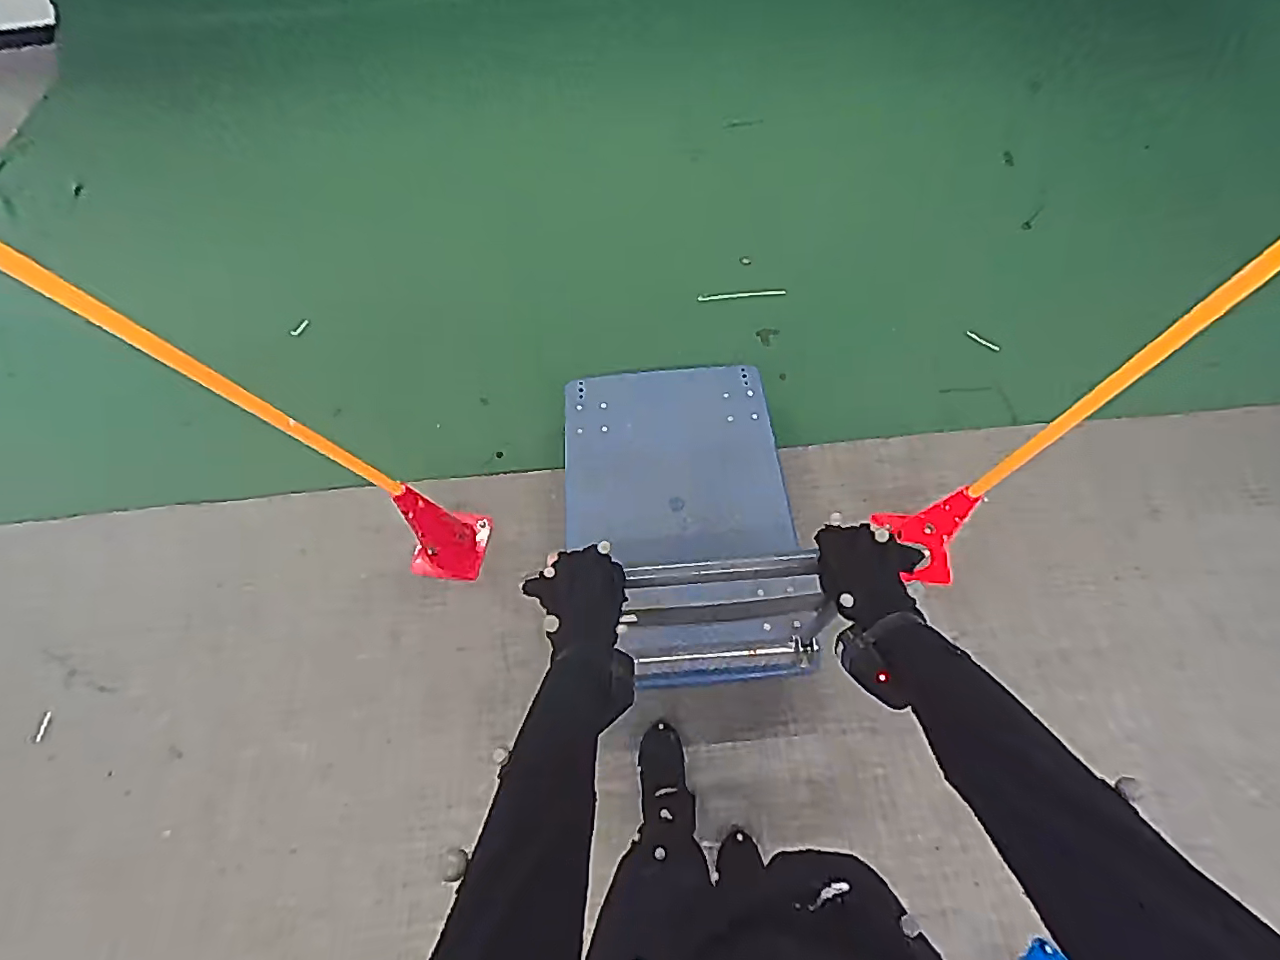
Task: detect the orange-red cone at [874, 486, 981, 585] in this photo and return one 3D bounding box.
[{"bbox_3d":[0.739,0.110,1.336,0.198,0.360,0.199,4,64,6],"label":"orange-red cone"}]
